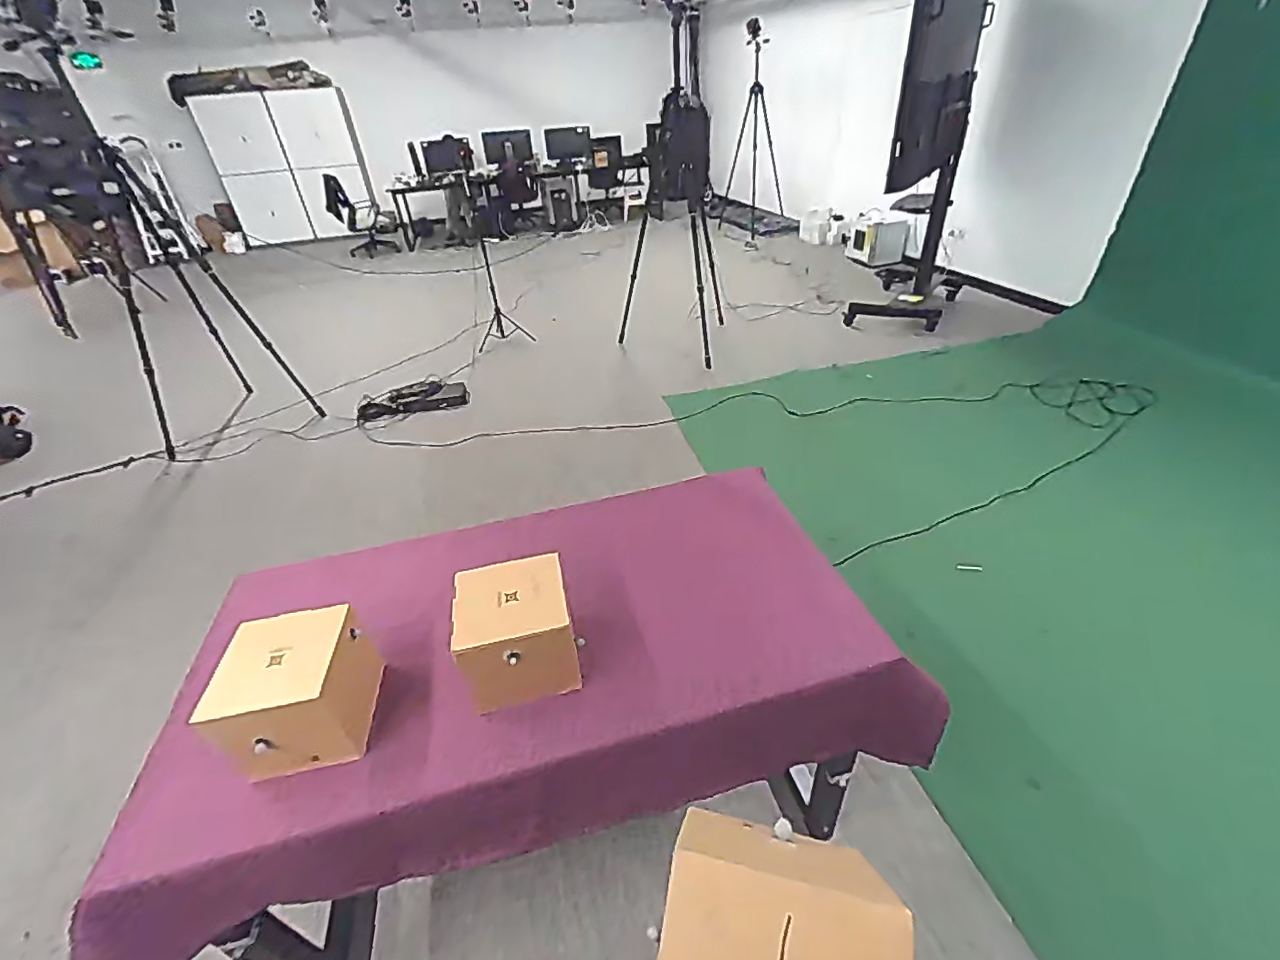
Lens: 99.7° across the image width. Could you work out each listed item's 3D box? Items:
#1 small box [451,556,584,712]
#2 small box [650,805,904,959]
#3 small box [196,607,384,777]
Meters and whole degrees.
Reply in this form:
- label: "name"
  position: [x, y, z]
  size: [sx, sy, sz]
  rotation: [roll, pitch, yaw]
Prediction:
- label: "small box"
  position: [-0.199, 0.257, 0.900]
  size: [0.179, 0.176, 0.168]
  rotation: [-11, 36, -8]
- label: "small box"
  position: [0.097, 0.386, 0.430]
  size: [0.168, 0.176, 0.179]
  rotation: [8, 68, 12]
- label: "small box"
  position: [-0.519, 0.332, 0.838]
  size: [0.168, 0.176, 0.179]
  rotation: [-10, 34, -6]
